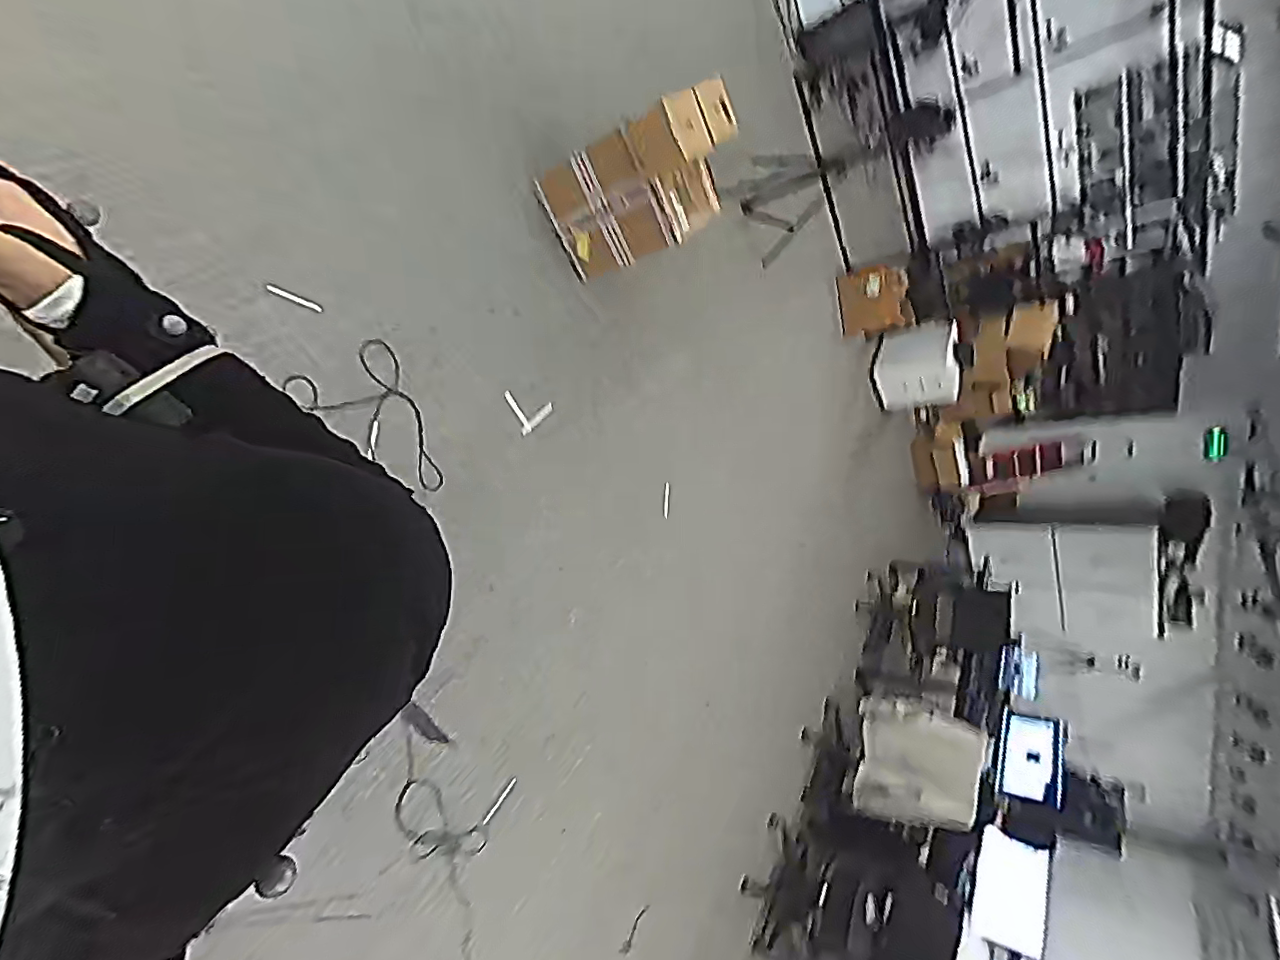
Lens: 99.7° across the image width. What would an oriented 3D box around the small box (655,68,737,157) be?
[{"bbox_3d":[0.179,-1.180,1.743,0.179,0.176,0.168,-49,121,-35],"label":"small box"}]
